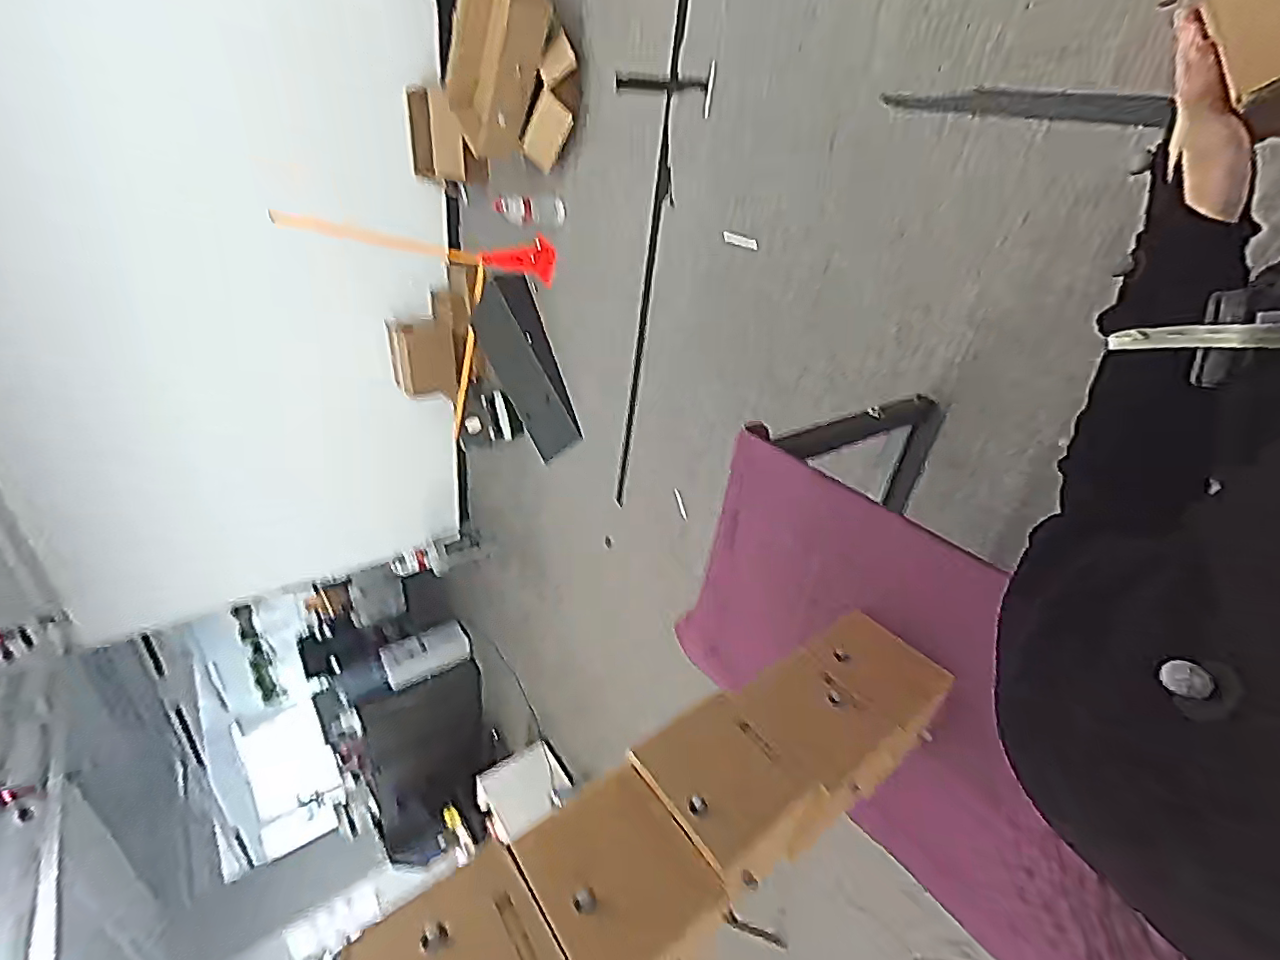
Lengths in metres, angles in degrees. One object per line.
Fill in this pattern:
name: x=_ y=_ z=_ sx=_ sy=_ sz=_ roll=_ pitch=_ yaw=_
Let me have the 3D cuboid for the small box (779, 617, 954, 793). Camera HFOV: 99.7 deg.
small box: x=0.360 y=0.345 z=0.872 sx=0.179 sy=0.176 sz=0.168 roll=36 pitch=131 yaw=40

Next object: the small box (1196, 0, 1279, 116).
small box: x=0.390 y=-0.317 z=0.268 sx=0.168 sy=0.176 sz=0.179 roll=-16 pitch=91 yaw=51

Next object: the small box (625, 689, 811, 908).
small box: x=0.092 y=0.413 z=0.695 sx=0.168 sy=0.176 sz=0.179 roll=36 pitch=131 yaw=40

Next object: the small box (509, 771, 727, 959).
small box: x=-0.033 y=0.463 z=0.603 sx=0.179 sy=0.176 sz=0.168 roll=35 pitch=130 yaw=41

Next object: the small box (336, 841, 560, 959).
small box: x=-0.166 y=0.500 z=0.517 sx=0.168 sy=0.176 sz=0.179 roll=35 pitch=131 yaw=43
